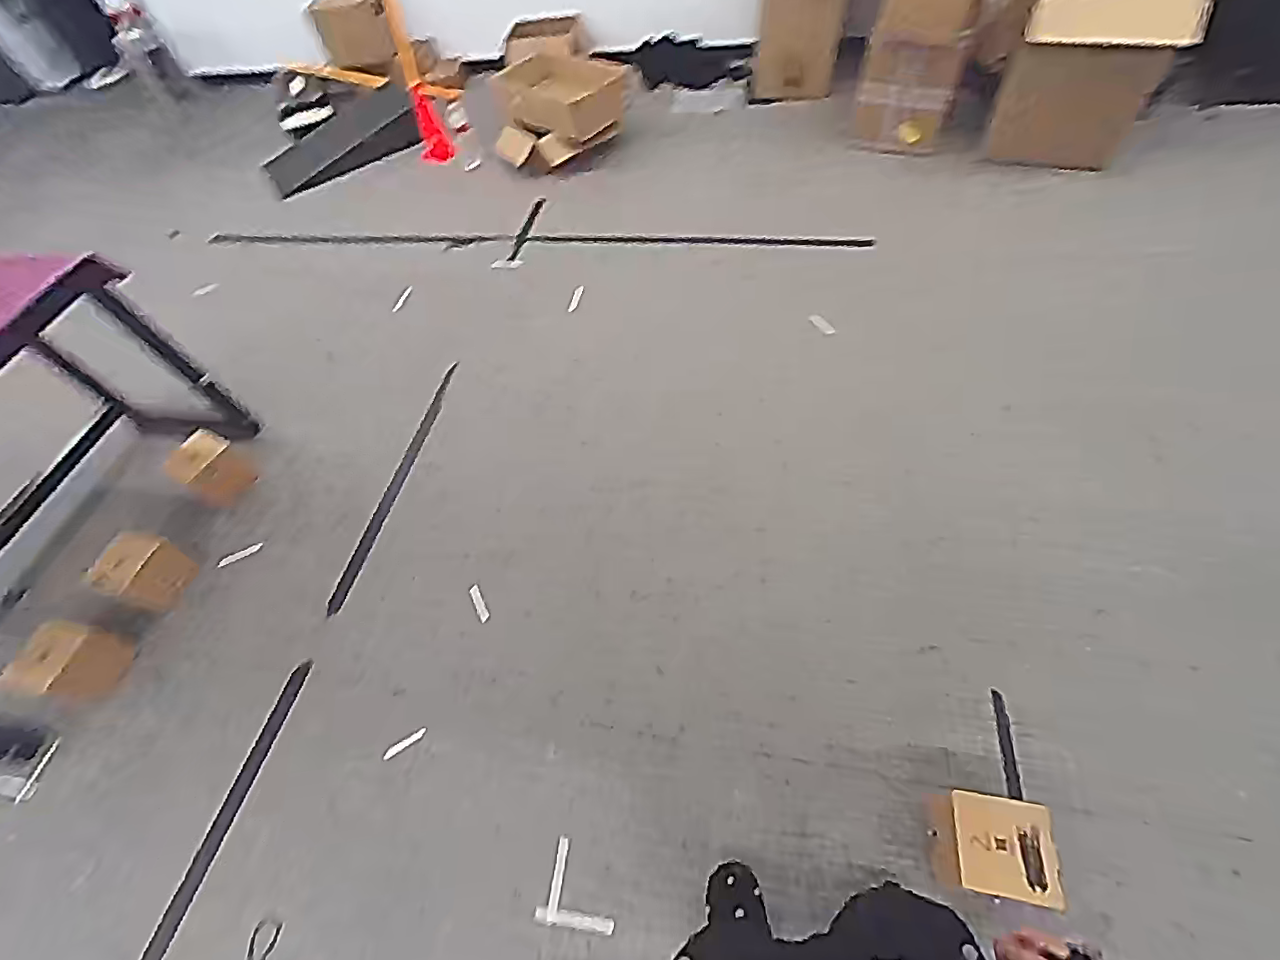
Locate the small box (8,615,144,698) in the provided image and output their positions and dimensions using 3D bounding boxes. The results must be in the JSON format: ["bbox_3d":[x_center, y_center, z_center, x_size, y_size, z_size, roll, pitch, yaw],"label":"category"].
[{"bbox_3d":[-1.591,0.507,1.541,0.168,0.176,0.179,8,58,11],"label":"small box"}]

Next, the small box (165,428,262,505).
[{"bbox_3d":[-1.470,-0.045,1.883,0.168,0.176,0.179,22,64,19],"label":"small box"}]

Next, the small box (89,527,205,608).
[{"bbox_3d":[-1.514,0.274,1.681,0.168,0.176,0.179,10,59,13],"label":"small box"}]
